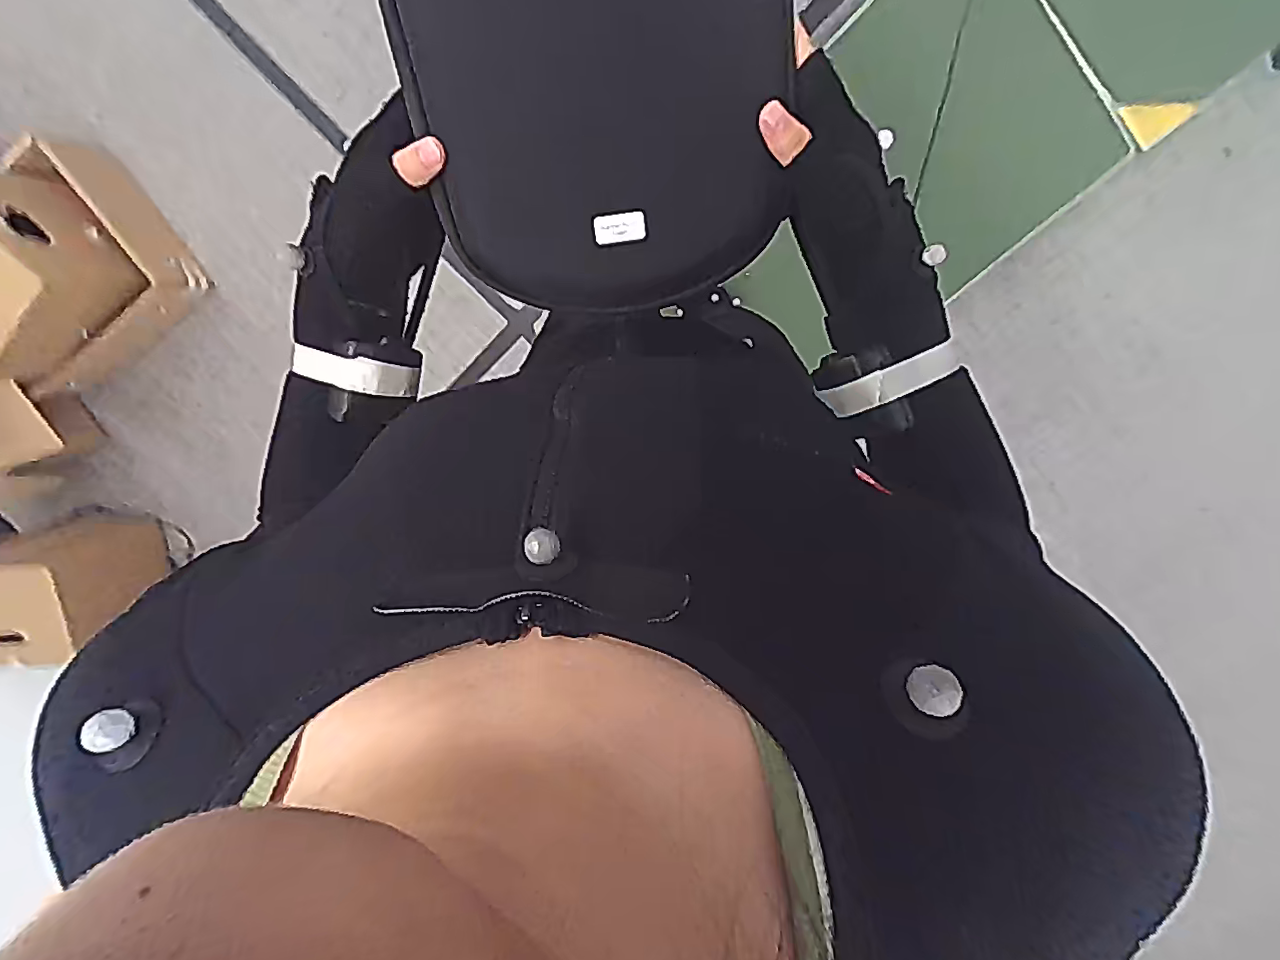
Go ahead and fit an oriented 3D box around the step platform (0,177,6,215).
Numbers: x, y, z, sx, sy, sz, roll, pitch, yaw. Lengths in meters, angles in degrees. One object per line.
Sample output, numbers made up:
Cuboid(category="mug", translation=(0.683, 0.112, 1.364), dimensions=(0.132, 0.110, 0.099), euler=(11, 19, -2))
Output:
Cuboid(category="step platform", translation=(-2.077, -0.921, 1.390), dimensions=(0.684, 0.204, 0.286), euler=(18, 113, -1))
